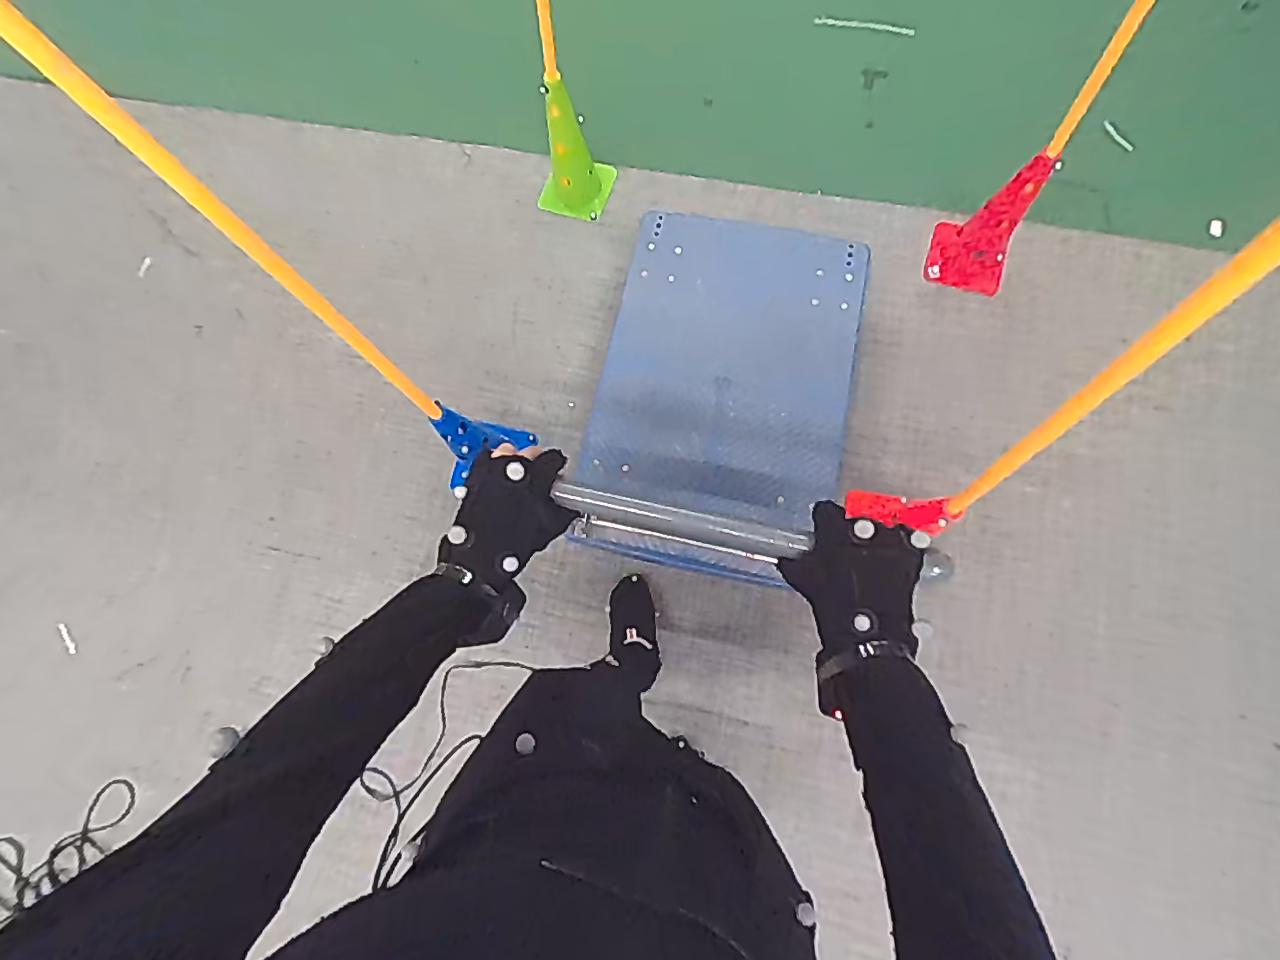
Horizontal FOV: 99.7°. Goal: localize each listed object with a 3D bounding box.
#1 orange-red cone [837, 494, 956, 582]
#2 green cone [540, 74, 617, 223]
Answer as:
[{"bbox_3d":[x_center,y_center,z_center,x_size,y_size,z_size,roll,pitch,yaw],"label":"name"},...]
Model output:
[{"bbox_3d":[0.582,0.097,1.174,0.199,0.360,0.198,11,76,8],"label":"orange-red cone"},{"bbox_3d":[-0.199,-0.922,1.477,0.202,0.368,0.200,16,77,8],"label":"green cone"}]
